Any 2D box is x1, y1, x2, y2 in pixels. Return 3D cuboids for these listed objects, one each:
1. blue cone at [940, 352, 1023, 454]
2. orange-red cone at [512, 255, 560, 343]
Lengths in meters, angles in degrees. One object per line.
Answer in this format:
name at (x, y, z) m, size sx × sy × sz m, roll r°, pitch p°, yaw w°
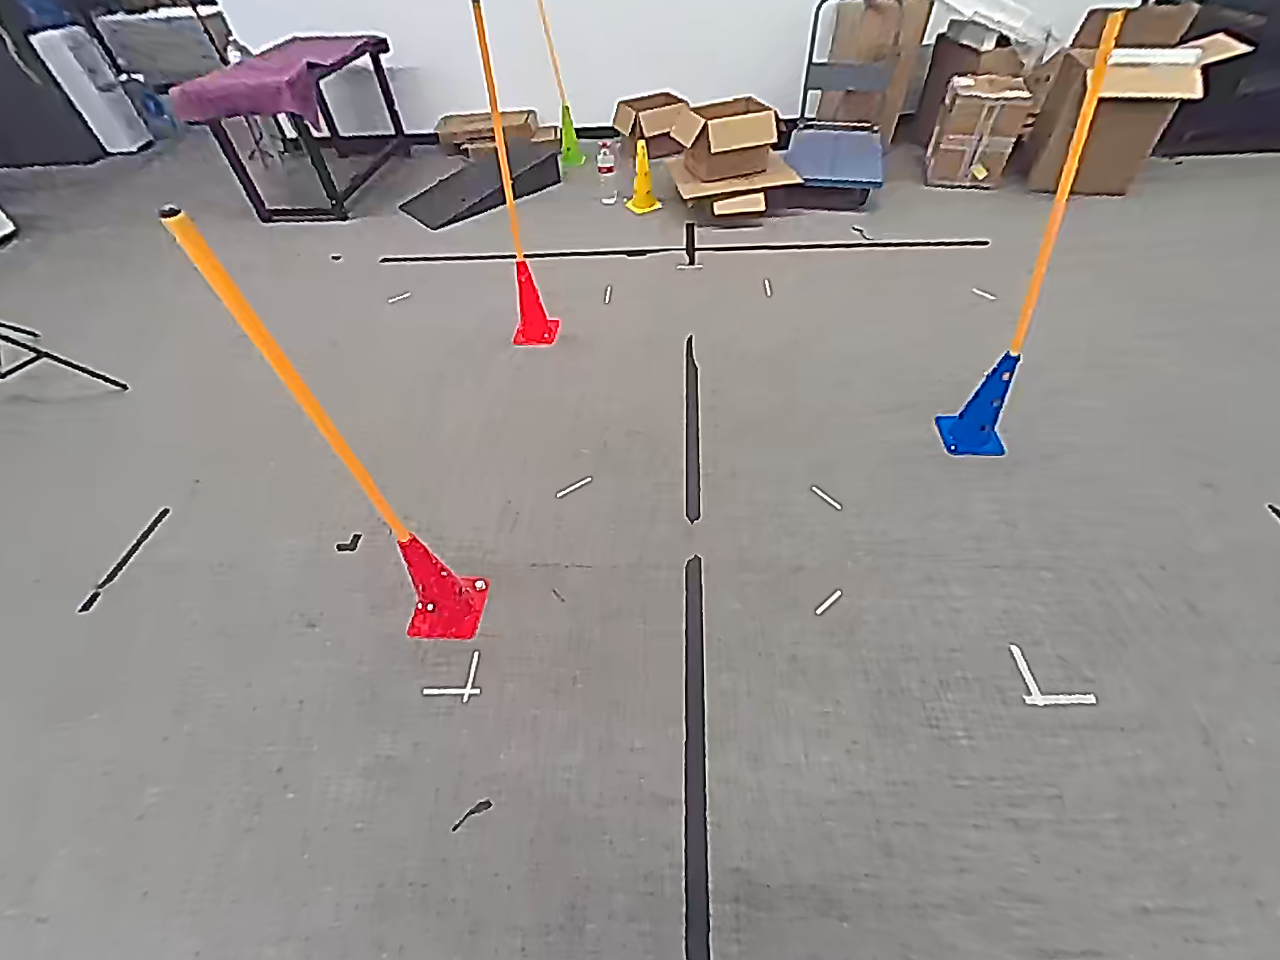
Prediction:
blue cone at (1.190, -0.275, 1.834) m, size 0.193 × 0.380 × 0.192 m, roll 3°, pitch 50°, yaw 6°
orange-red cone at (-0.490, -0.812, 2.381) m, size 0.198 × 0.360 × 0.199 m, roll 3°, pitch 48°, yaw 6°
